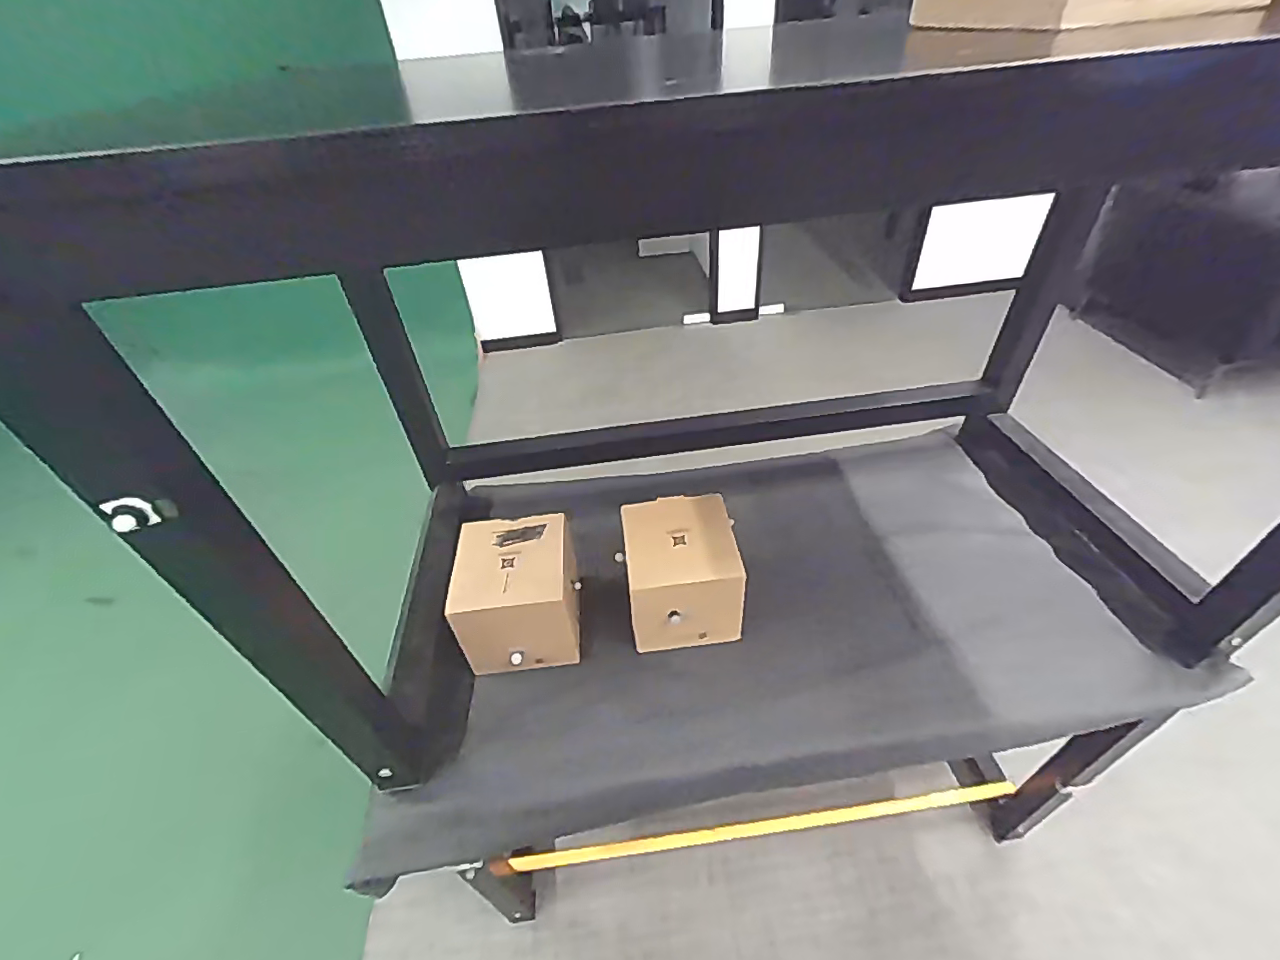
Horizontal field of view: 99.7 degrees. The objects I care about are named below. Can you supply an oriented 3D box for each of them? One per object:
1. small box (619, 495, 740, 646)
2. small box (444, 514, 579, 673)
[{"bbox_3d":[0.060,0.150,0.870,0.168,0.176,0.179,-7,41,-2],"label":"small box"},{"bbox_3d":[-0.191,0.179,0.858,0.168,0.176,0.179,-7,42,-2],"label":"small box"}]
